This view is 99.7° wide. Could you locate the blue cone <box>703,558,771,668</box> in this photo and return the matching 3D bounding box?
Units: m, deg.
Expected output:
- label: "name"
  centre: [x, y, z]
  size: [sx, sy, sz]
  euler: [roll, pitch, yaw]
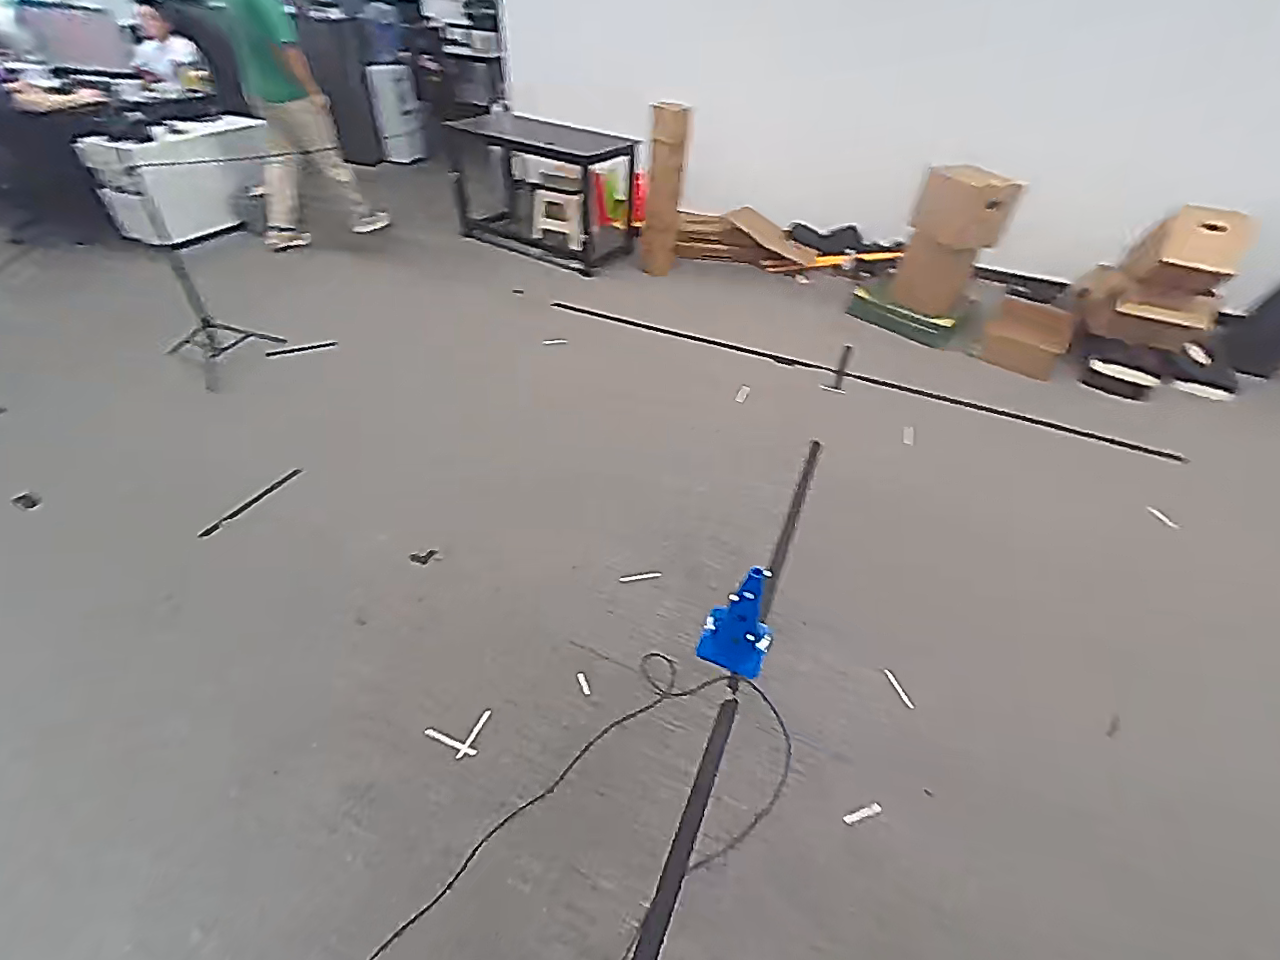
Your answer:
- label: "blue cone"
  centre: [0.308, 0.364, 1.564]
  size: [0.193, 0.380, 0.192]
  euler: [18, 45, 15]
